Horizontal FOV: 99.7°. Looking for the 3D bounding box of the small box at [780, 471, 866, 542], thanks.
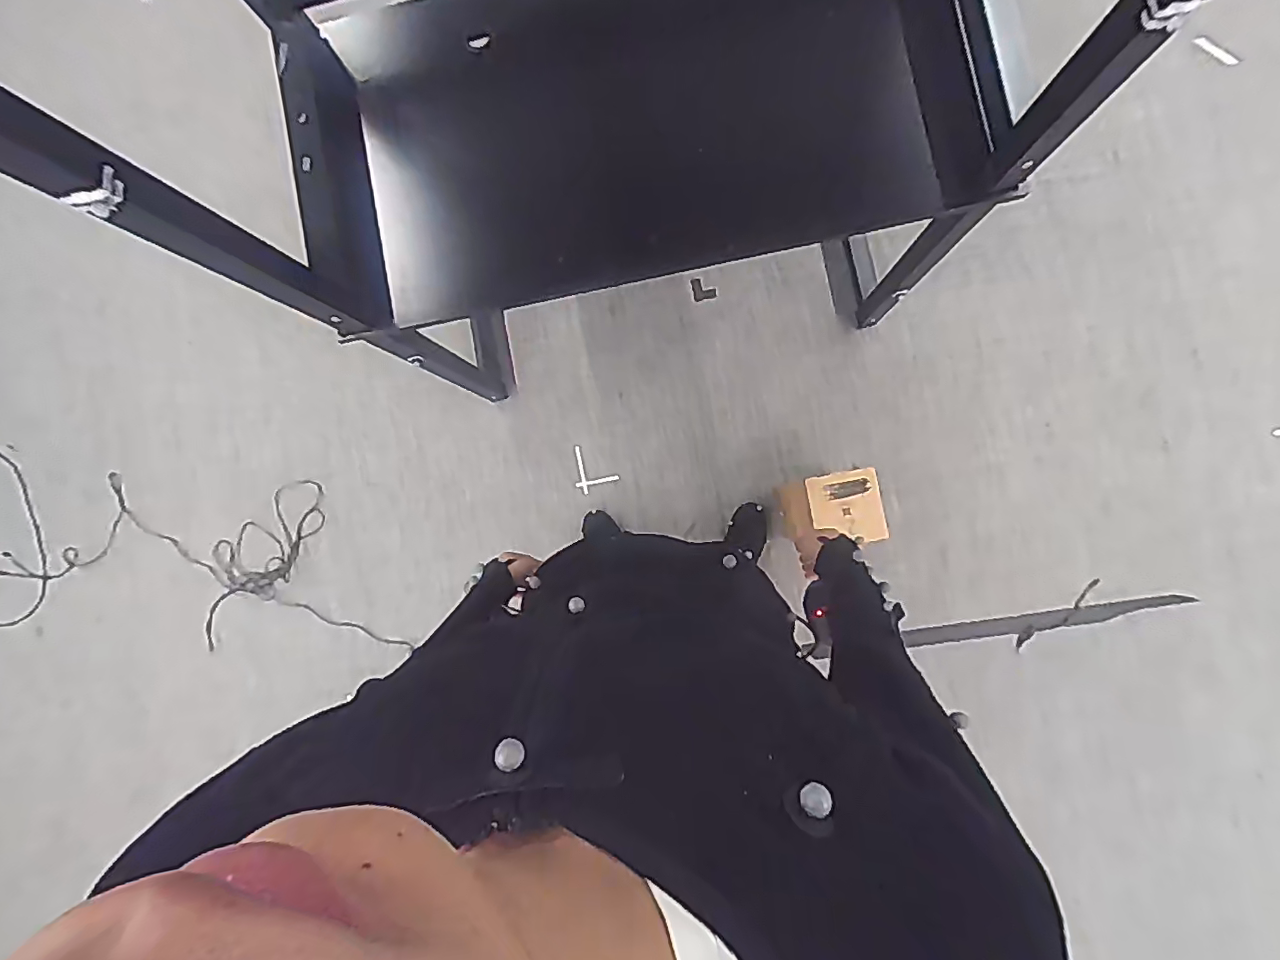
[{"bbox_3d":[0.504,0.071,1.511,0.179,0.176,0.168,-12,87,6],"label":"small box"}]
